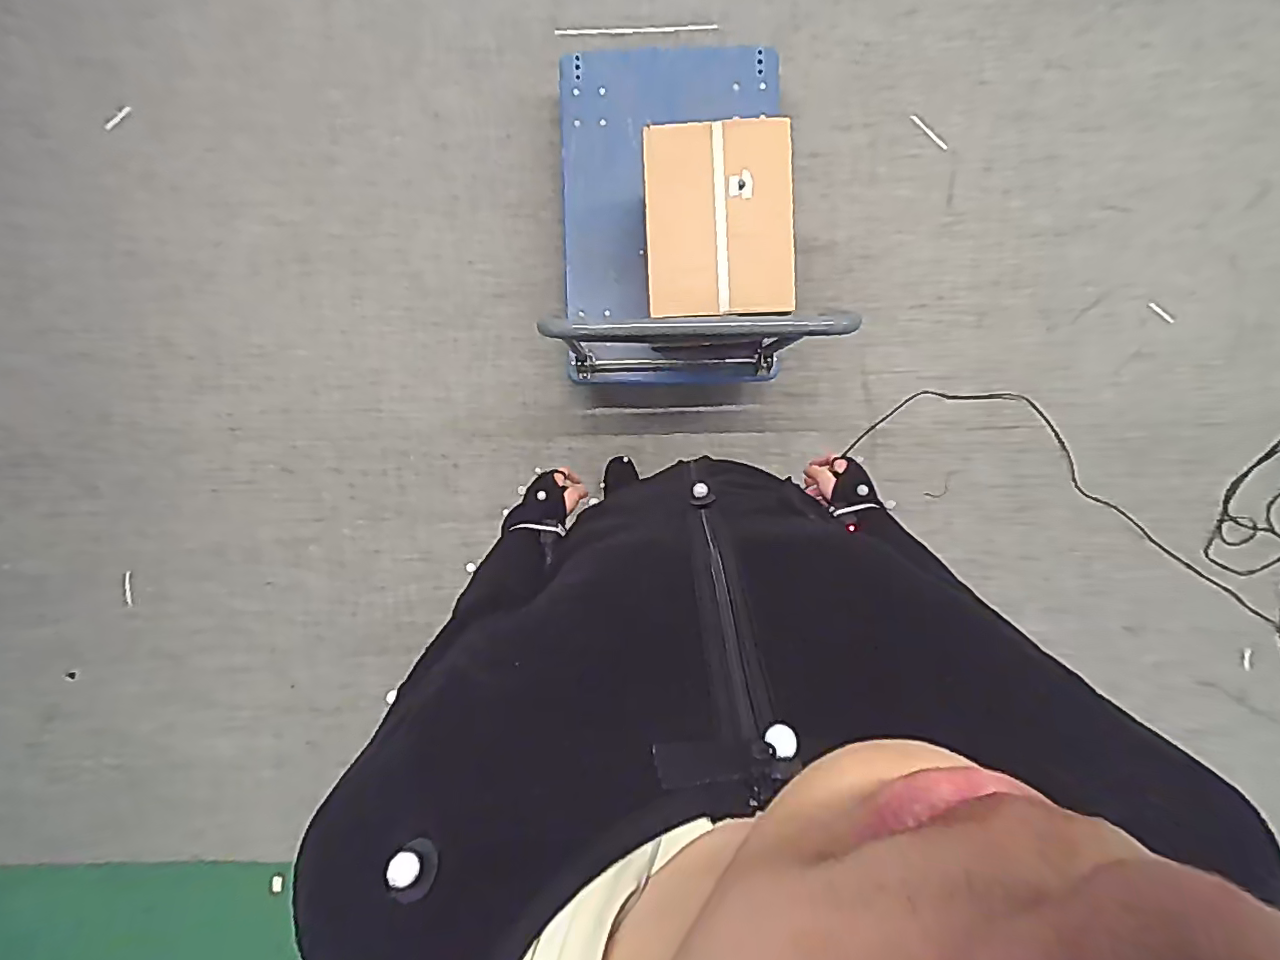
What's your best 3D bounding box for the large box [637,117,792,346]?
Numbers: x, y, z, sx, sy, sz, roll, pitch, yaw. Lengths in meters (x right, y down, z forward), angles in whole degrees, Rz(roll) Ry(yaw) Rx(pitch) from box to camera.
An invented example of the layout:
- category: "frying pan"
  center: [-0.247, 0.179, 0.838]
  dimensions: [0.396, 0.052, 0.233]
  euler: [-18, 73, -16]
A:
- category: "large box"
  center: [0.161, -0.559, 1.286]
  dimensions: [0.320, 0.320, 0.408]
  euler: [-3, 92, 0]
